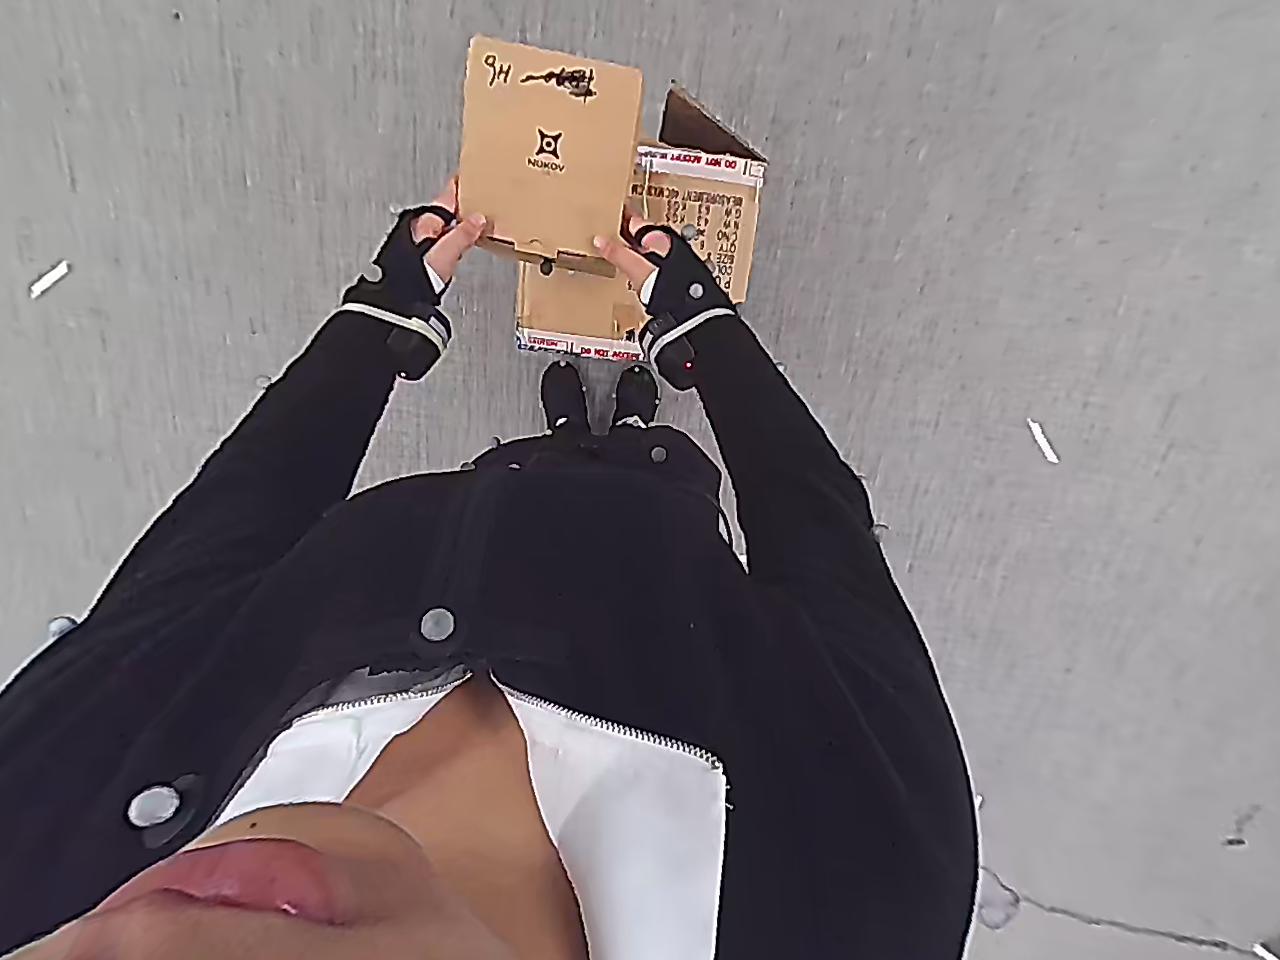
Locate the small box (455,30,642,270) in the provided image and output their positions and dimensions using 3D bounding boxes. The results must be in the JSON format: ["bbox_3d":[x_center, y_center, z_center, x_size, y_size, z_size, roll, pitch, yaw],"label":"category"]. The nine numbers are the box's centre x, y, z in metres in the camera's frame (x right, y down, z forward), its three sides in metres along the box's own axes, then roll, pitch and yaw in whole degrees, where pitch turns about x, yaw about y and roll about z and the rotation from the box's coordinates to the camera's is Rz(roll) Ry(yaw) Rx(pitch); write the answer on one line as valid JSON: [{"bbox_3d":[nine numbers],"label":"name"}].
[{"bbox_3d":[-0.093,-0.341,0.601,0.168,0.176,0.179,9,106,-4],"label":"small box"}]
